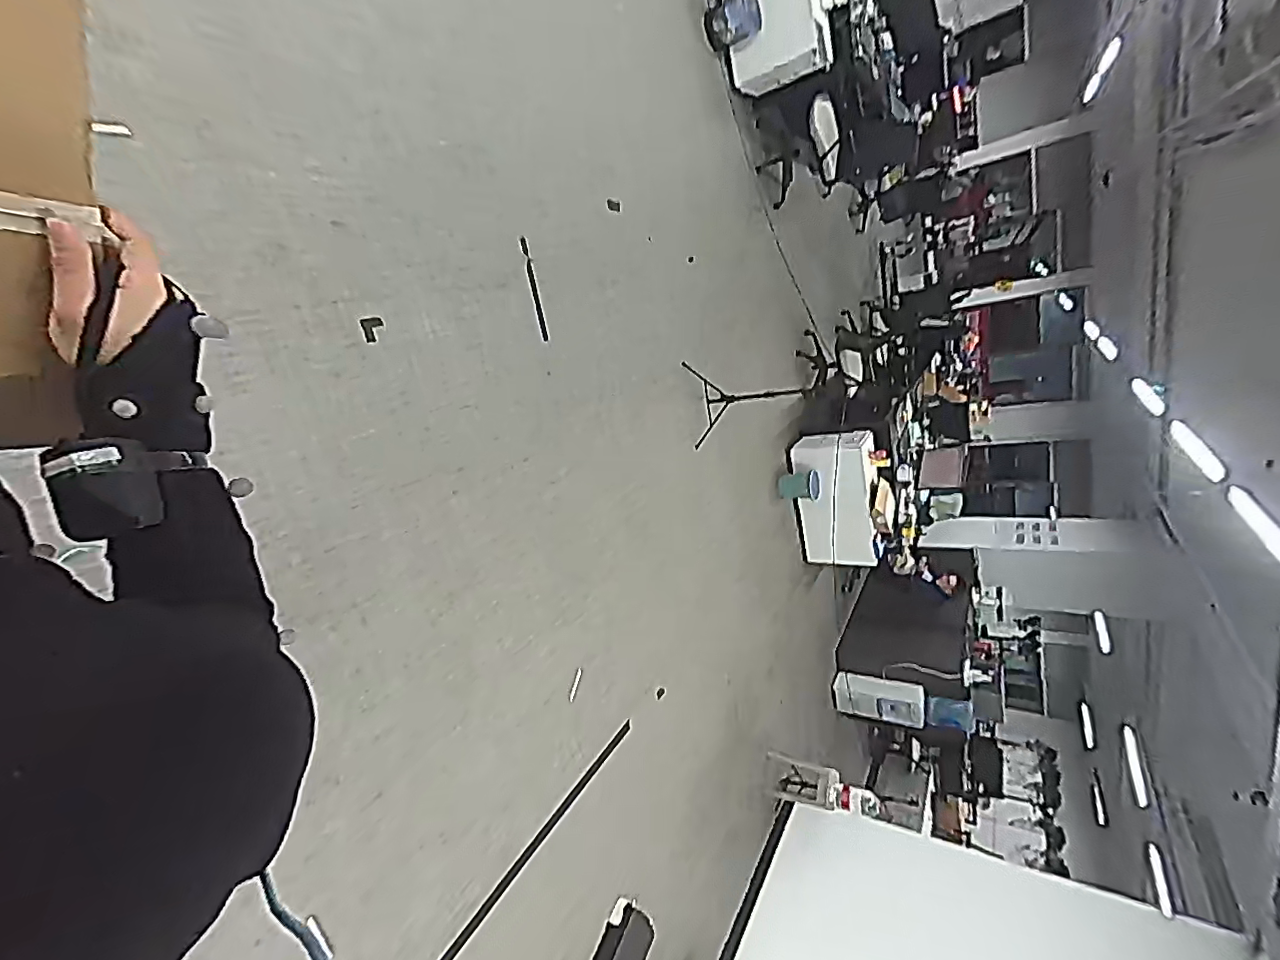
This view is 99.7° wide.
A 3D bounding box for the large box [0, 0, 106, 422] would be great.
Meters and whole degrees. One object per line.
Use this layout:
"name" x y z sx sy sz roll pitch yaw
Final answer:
"large box" -0.585 -0.216 0.255 0.408 0.320 0.320 -16 135 -53
